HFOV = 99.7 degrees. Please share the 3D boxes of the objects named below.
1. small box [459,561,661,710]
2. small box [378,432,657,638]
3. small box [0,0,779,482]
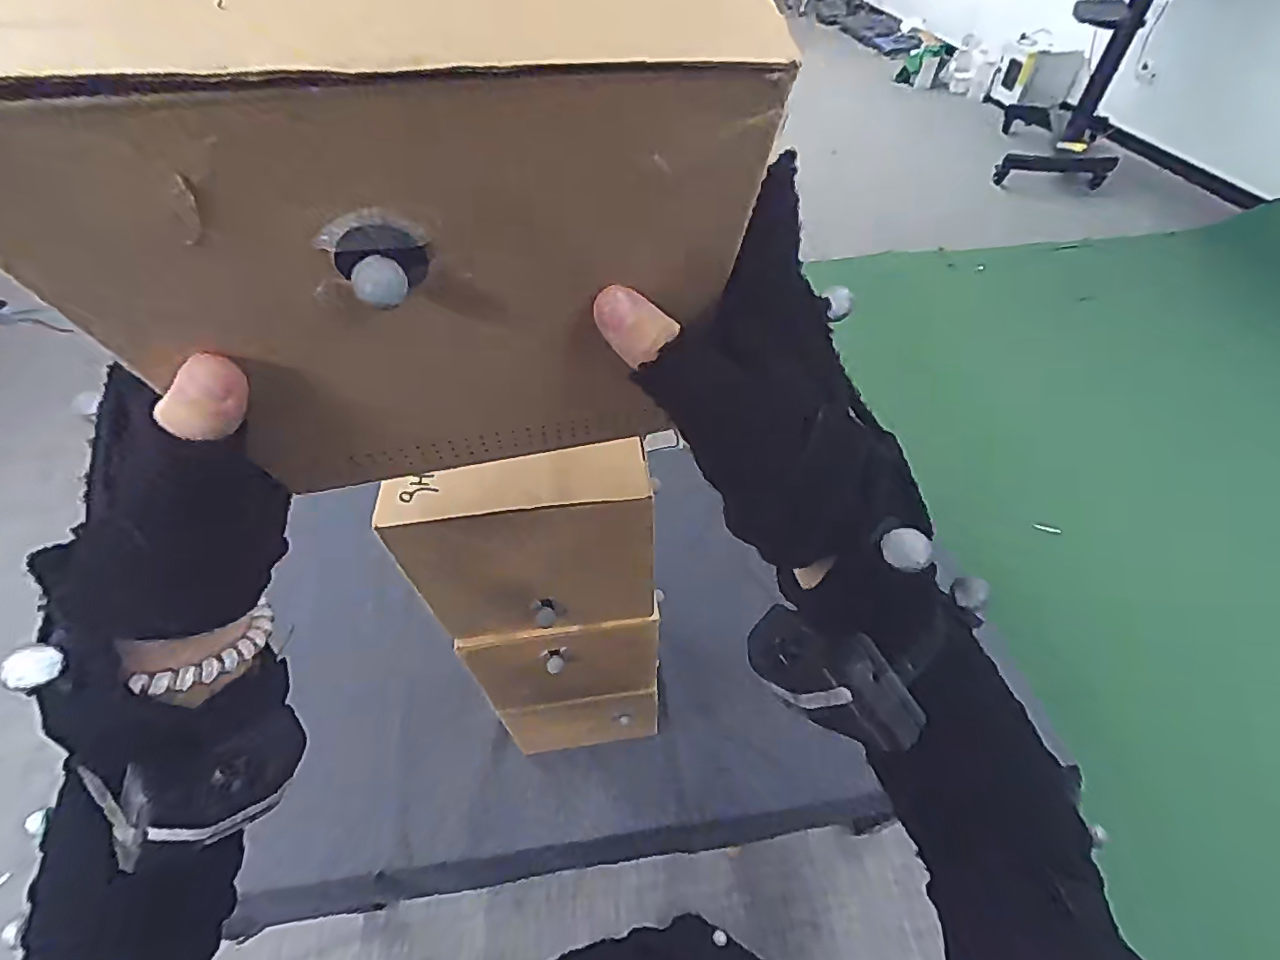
[{"bbox_3d":[-0.077,0.126,0.573,0.179,0.176,0.168,-7,50,-4],"label":"small box"},{"bbox_3d":[-0.084,0.015,0.451,0.179,0.176,0.168,-5,49,-4],"label":"small box"},{"bbox_3d":[-0.075,-0.112,0.213,0.179,0.176,0.168,-11,68,-11],"label":"small box"}]
